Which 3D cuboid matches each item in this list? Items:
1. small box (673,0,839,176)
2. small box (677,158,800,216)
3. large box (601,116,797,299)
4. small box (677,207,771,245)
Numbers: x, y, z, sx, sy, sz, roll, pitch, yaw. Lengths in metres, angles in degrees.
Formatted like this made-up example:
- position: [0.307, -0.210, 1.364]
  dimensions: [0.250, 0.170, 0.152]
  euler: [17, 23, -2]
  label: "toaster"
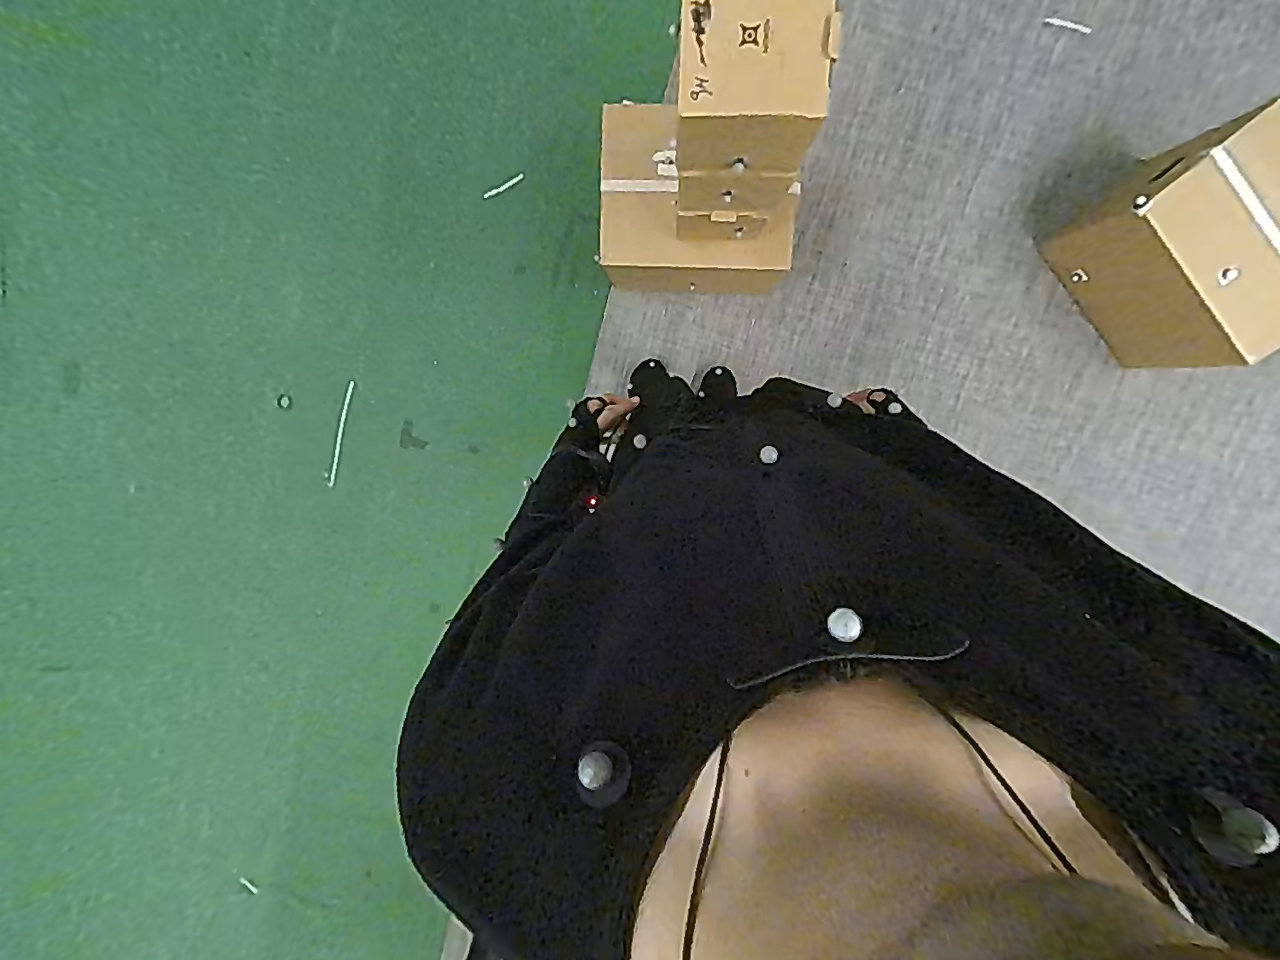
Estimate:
- position: [0.136, -0.506, 0.686]
  dimensions: [0.179, 0.176, 0.168]
  euler: [3, 99, 2]
  label: "small box"
- position: [0.149, -0.529, 0.848]
  dimensions: [0.179, 0.176, 0.168]
  euler: [2, 99, 4]
  label: "small box"
- position: [0.133, -0.603, 1.251]
  dimensions: [0.408, 0.320, 0.320]
  euler: [3, 98, 5]
  label: "large box"
- position: [0.157, -0.551, 1.010]
  dimensions: [0.168, 0.176, 0.179]
  euler: [3, 99, 3]
  label: "small box"
